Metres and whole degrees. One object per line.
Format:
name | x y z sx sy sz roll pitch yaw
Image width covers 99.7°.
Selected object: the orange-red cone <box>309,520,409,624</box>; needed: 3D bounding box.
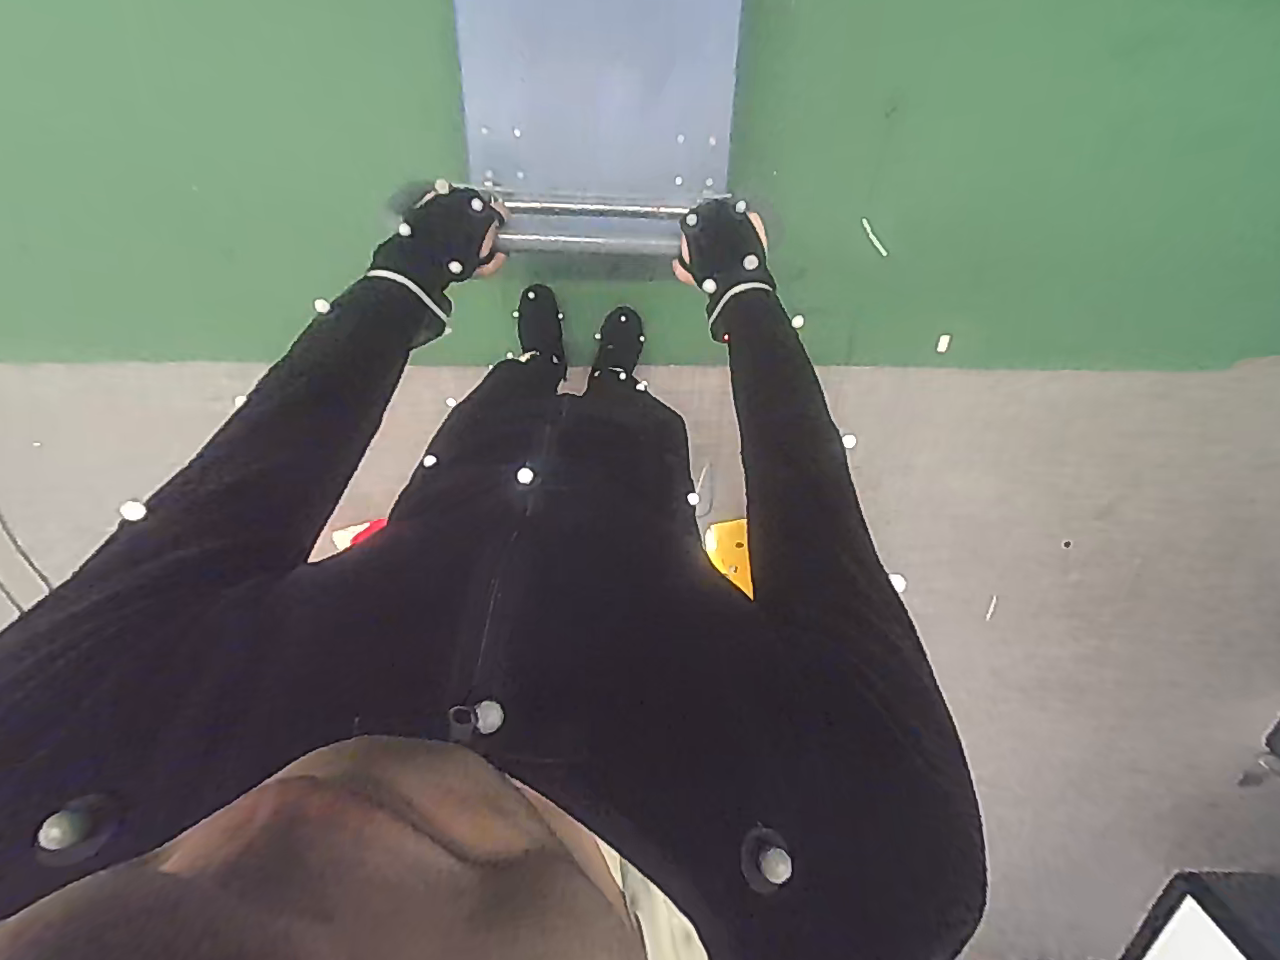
orange-red cone | -0.863 0.296 1.589 0.199 0.360 0.198 -13 114 5
